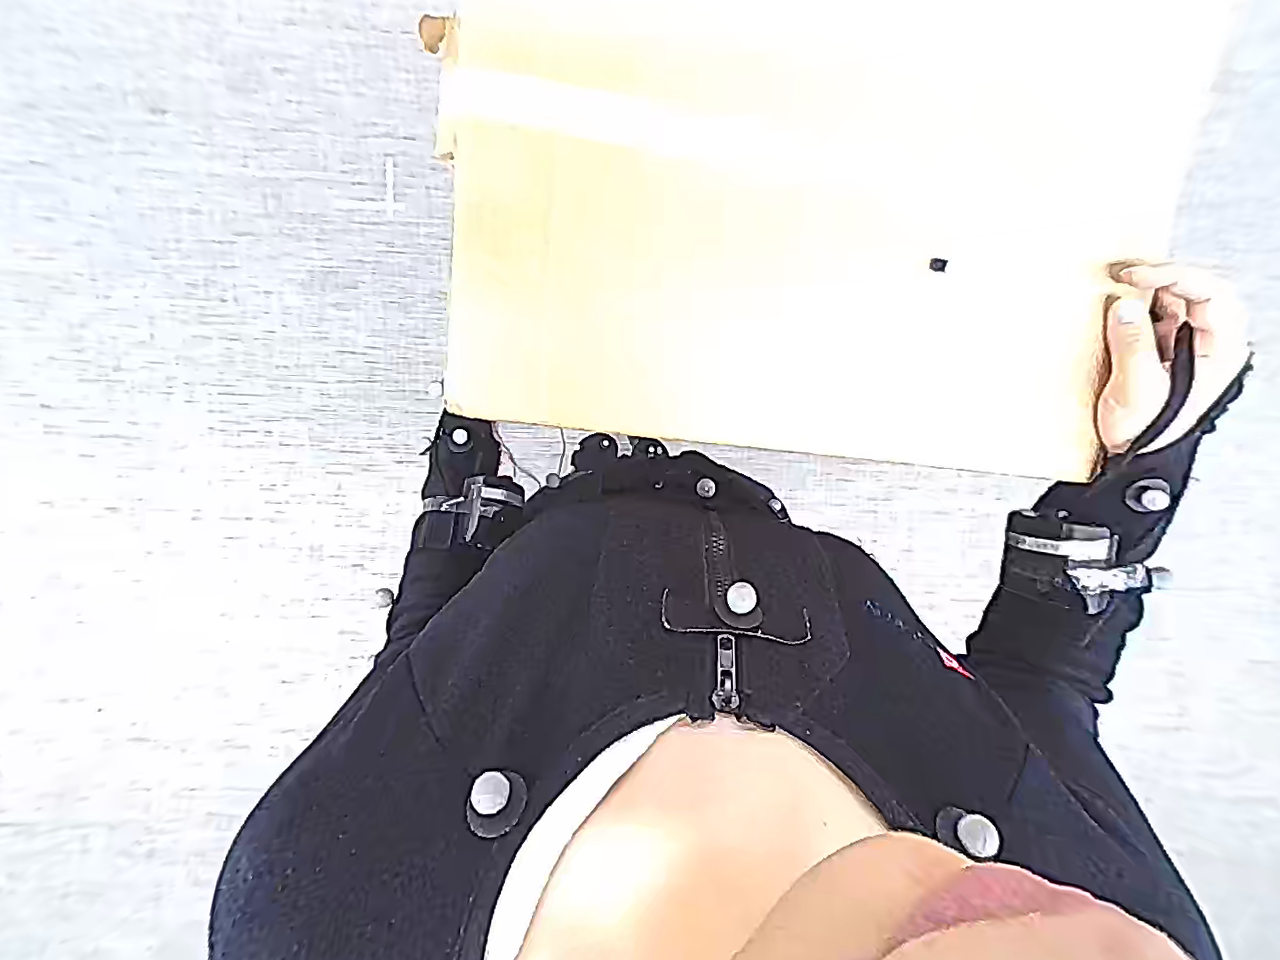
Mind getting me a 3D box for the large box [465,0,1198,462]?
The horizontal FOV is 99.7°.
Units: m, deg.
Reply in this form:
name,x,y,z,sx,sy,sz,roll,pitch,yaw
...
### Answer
name,x,y,z,sx,sy,sz,roll,pitch,yaw
large box,0.089,-0.203,0.444,0.408,0.320,0.320,5,101,-10
